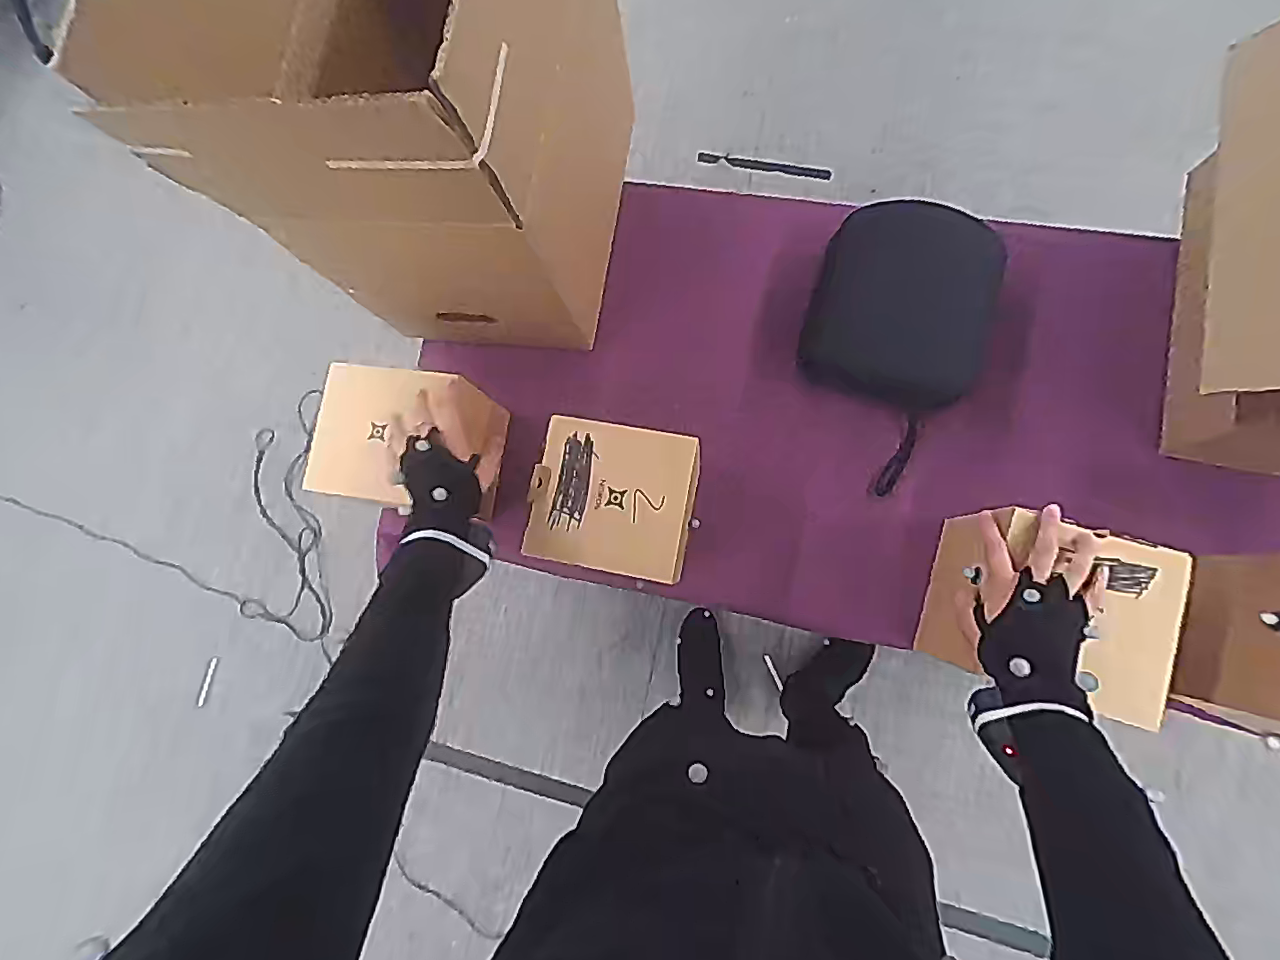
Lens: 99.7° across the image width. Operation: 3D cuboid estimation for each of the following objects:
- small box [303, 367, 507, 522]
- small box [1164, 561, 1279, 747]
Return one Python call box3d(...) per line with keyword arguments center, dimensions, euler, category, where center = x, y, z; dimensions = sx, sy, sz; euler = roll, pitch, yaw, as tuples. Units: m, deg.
box3d(center=(-0.302, -0.039, 0.731), dimensions=(0.179, 0.176, 0.168), euler=(7, 81, 7), category="small box")
box3d(center=(0.707, 0.190, 0.556), dimensions=(0.168, 0.176, 0.179), euler=(22, 84, 12), category="small box")
